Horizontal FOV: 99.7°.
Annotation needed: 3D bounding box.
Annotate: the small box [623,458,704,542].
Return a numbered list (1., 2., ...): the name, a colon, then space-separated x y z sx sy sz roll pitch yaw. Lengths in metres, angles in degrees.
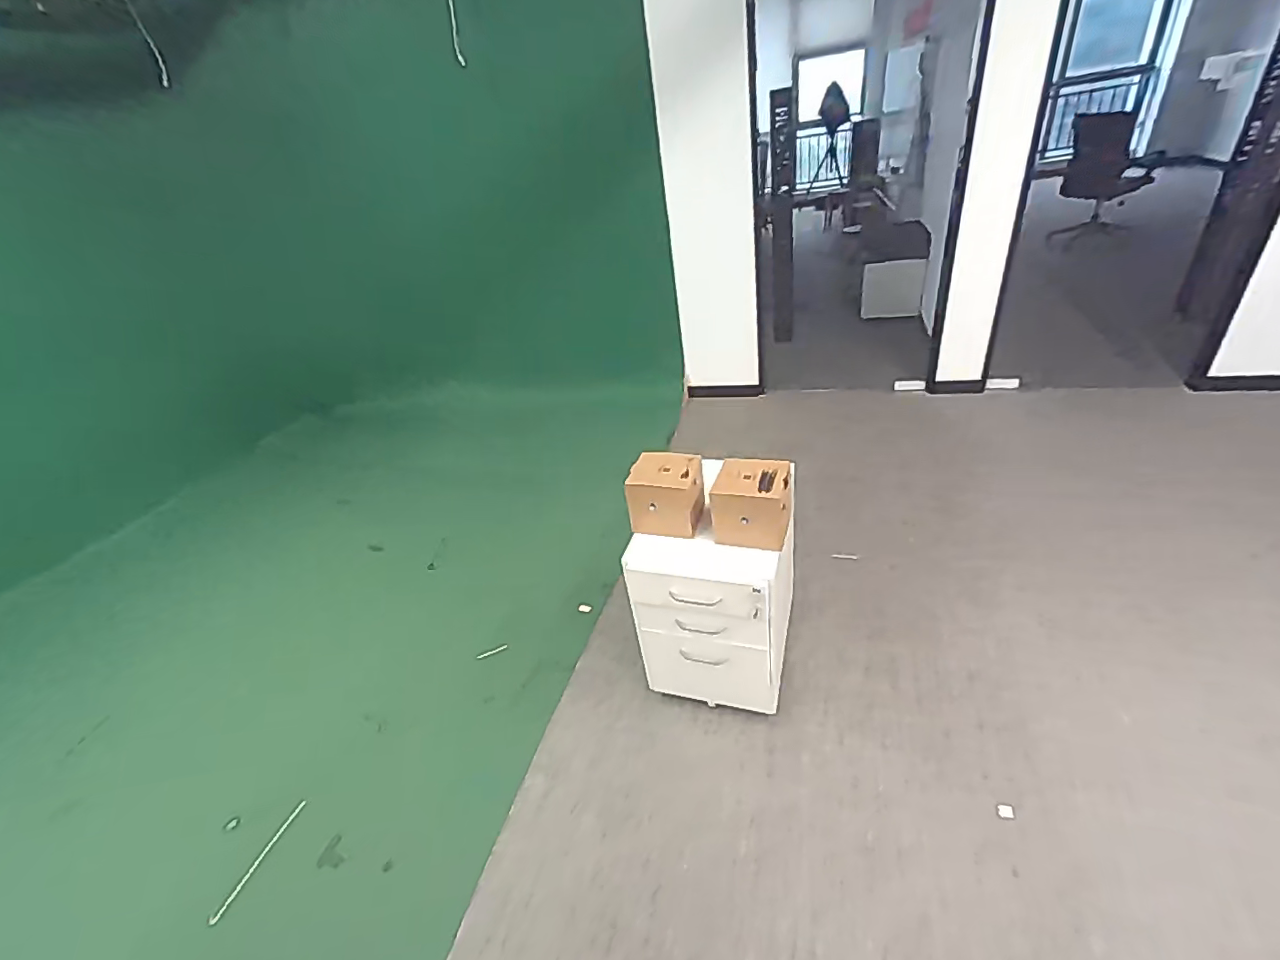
1. small box: 0.072 0.055 1.497 0.179 0.176 0.168 4 35 19
